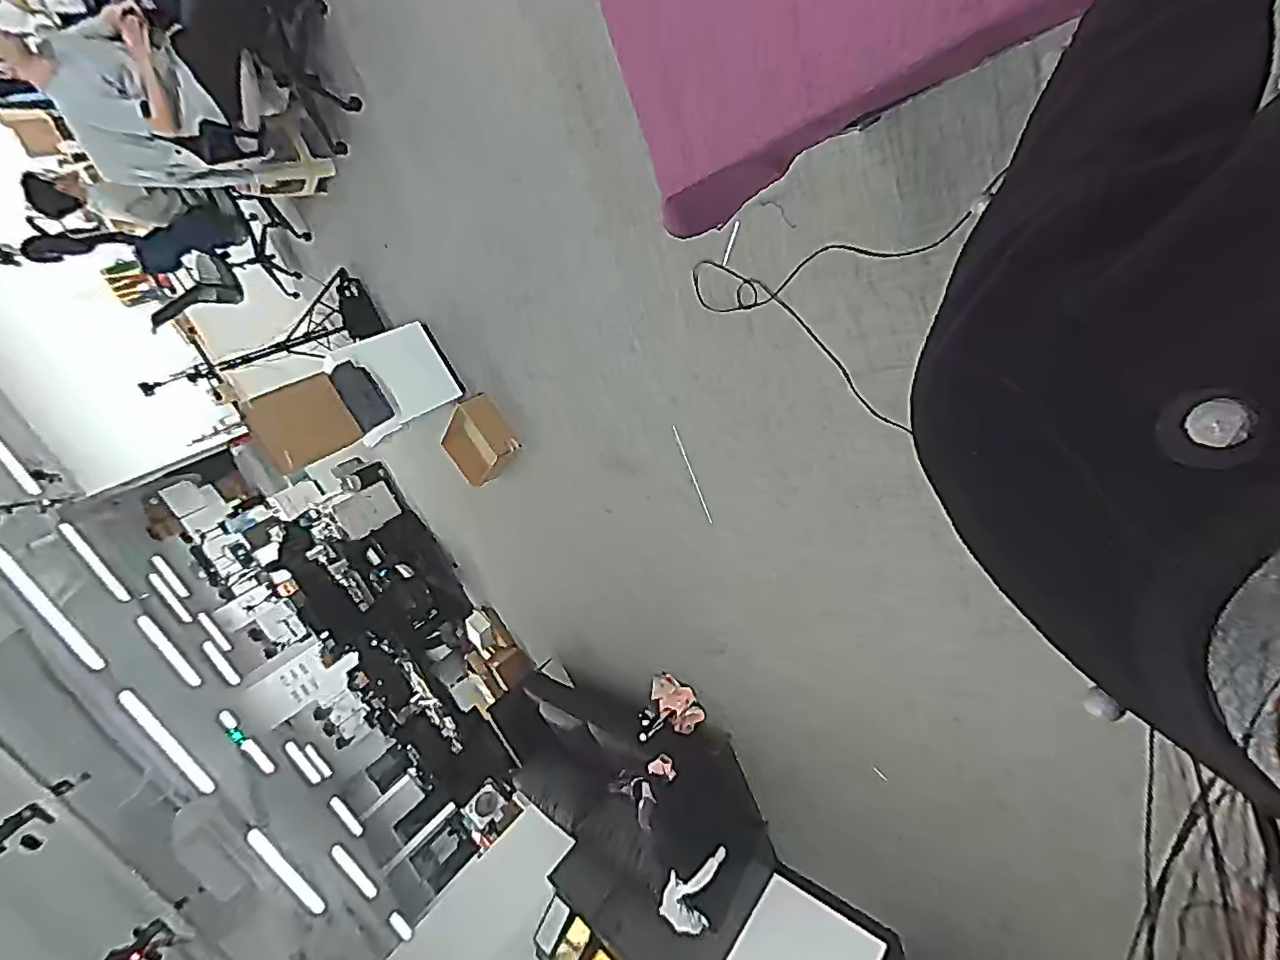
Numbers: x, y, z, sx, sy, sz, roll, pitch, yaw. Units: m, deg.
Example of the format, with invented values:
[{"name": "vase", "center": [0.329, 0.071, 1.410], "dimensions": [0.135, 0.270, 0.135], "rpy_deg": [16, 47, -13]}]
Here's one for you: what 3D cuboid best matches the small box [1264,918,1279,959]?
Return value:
[{"name": "small box", "center": [1.838, 1.359, 1.467], "dimensions": [0.168, 0.176, 0.179], "rpy_deg": [11, 125, 43]}]
